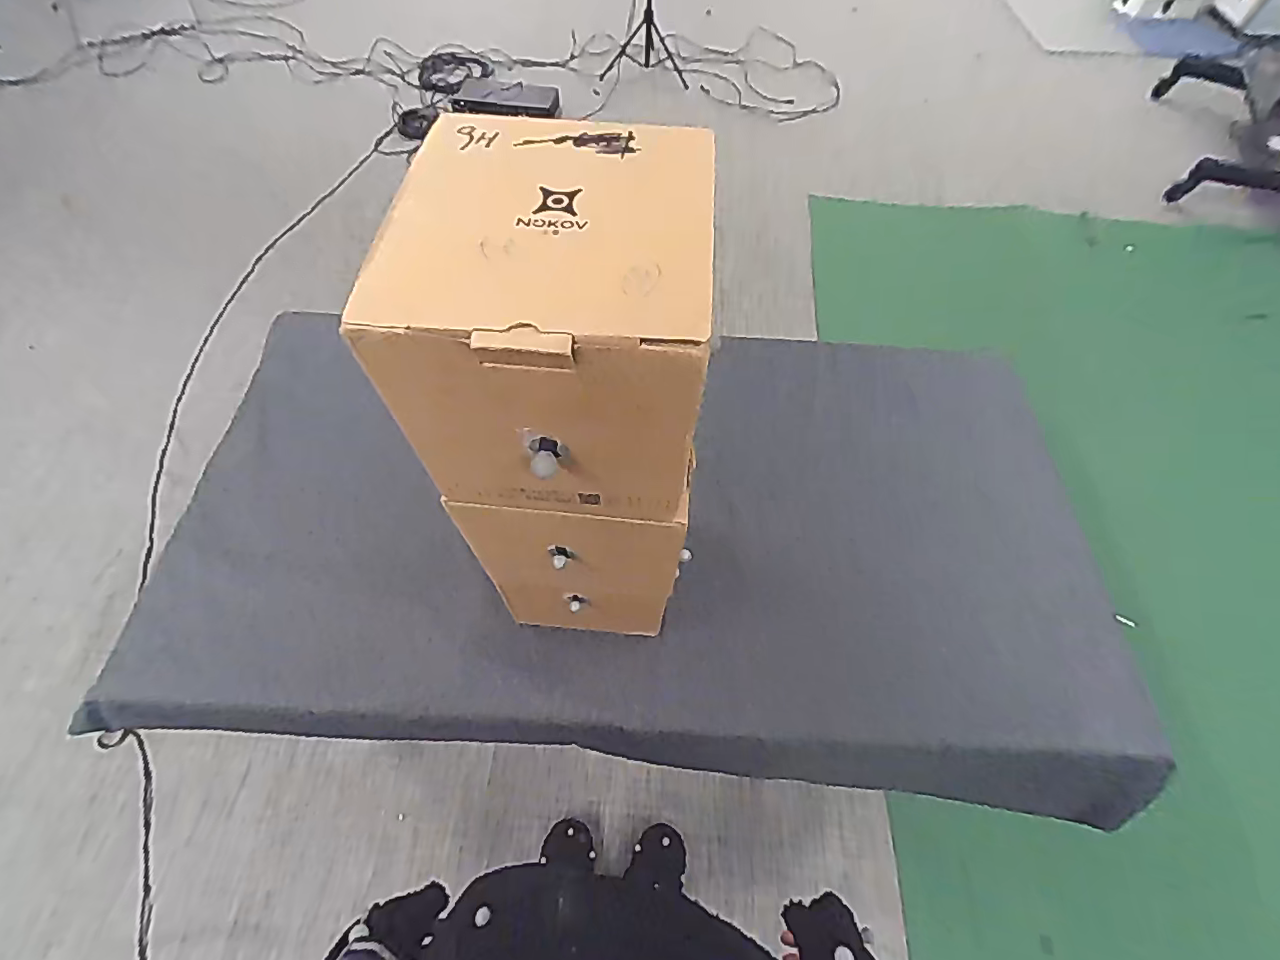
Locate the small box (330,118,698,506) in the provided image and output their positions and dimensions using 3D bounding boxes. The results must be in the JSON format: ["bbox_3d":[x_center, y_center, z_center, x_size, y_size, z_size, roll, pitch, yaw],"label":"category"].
[{"bbox_3d":[-0.052,-0.095,0.347,0.168,0.176,0.179,3,62,2],"label":"small box"}]

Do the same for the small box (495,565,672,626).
[{"bbox_3d":[-0.051,0.067,0.632,0.179,0.176,0.168,4,61,1],"label":"small box"}]

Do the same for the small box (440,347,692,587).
[{"bbox_3d":[-0.049,-0.009,0.487,0.179,0.176,0.168,4,61,3],"label":"small box"}]
